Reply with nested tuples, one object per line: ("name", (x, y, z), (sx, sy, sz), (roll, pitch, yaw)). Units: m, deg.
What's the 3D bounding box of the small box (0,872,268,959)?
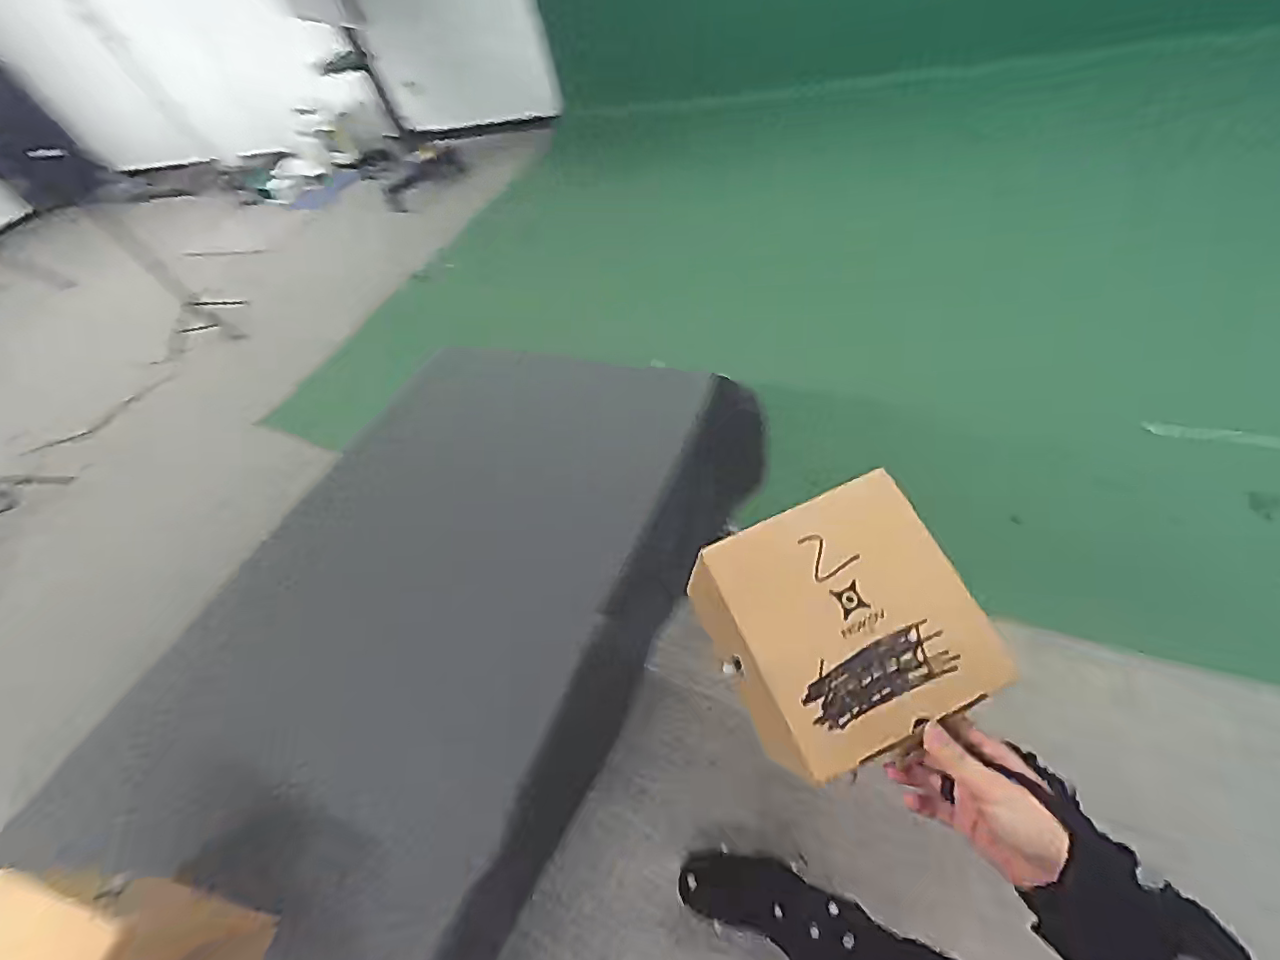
("small box", (-0.483, 0.460, 0.462), (0.179, 0.176, 0.168), (1, 53, 18))
